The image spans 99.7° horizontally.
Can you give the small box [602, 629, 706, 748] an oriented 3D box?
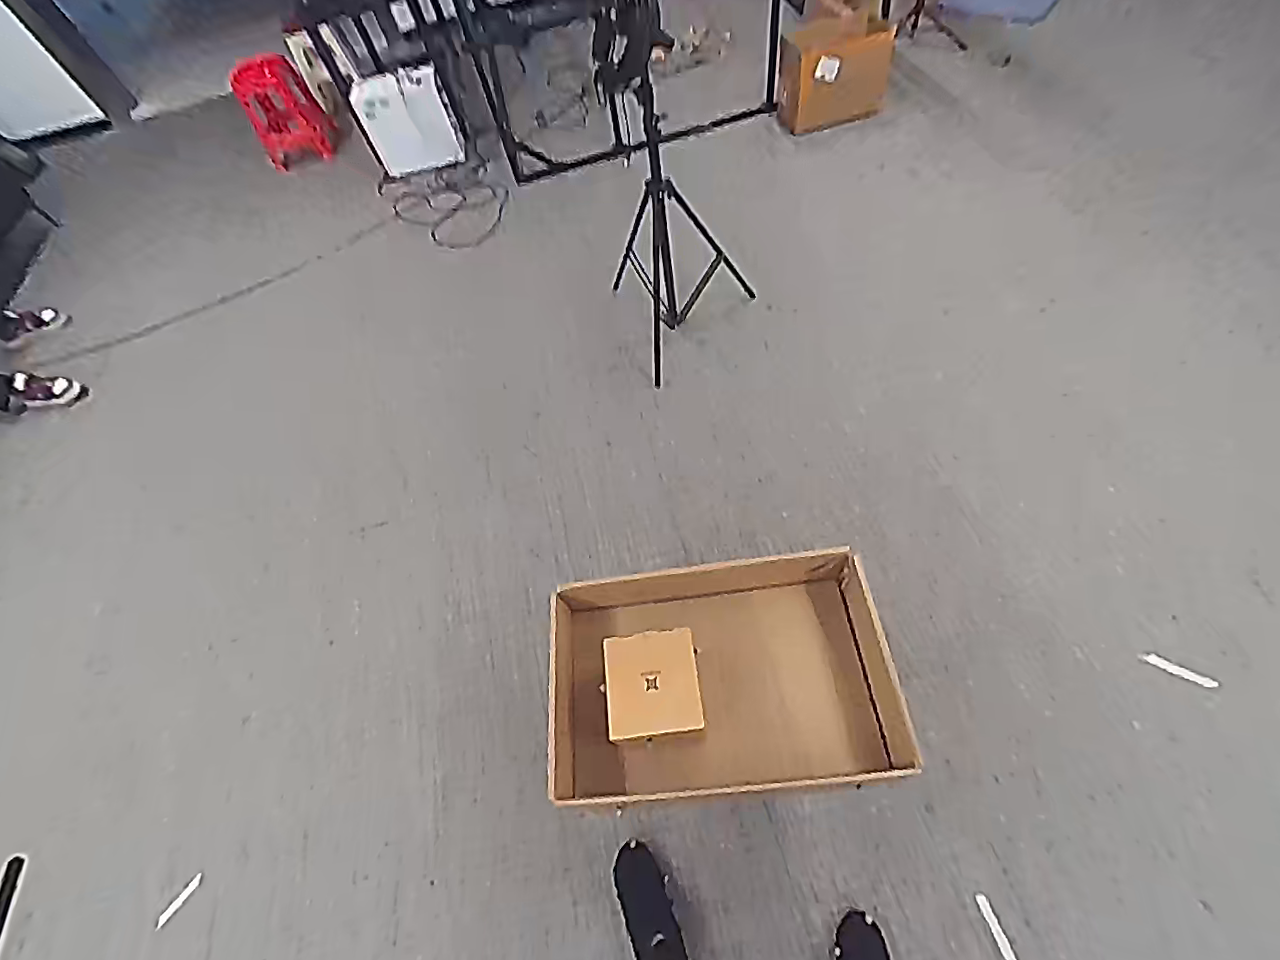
[{"bbox_3d":[0.029,0.398,1.018,0.168,0.176,0.179,-10,57,4],"label":"small box"}]
